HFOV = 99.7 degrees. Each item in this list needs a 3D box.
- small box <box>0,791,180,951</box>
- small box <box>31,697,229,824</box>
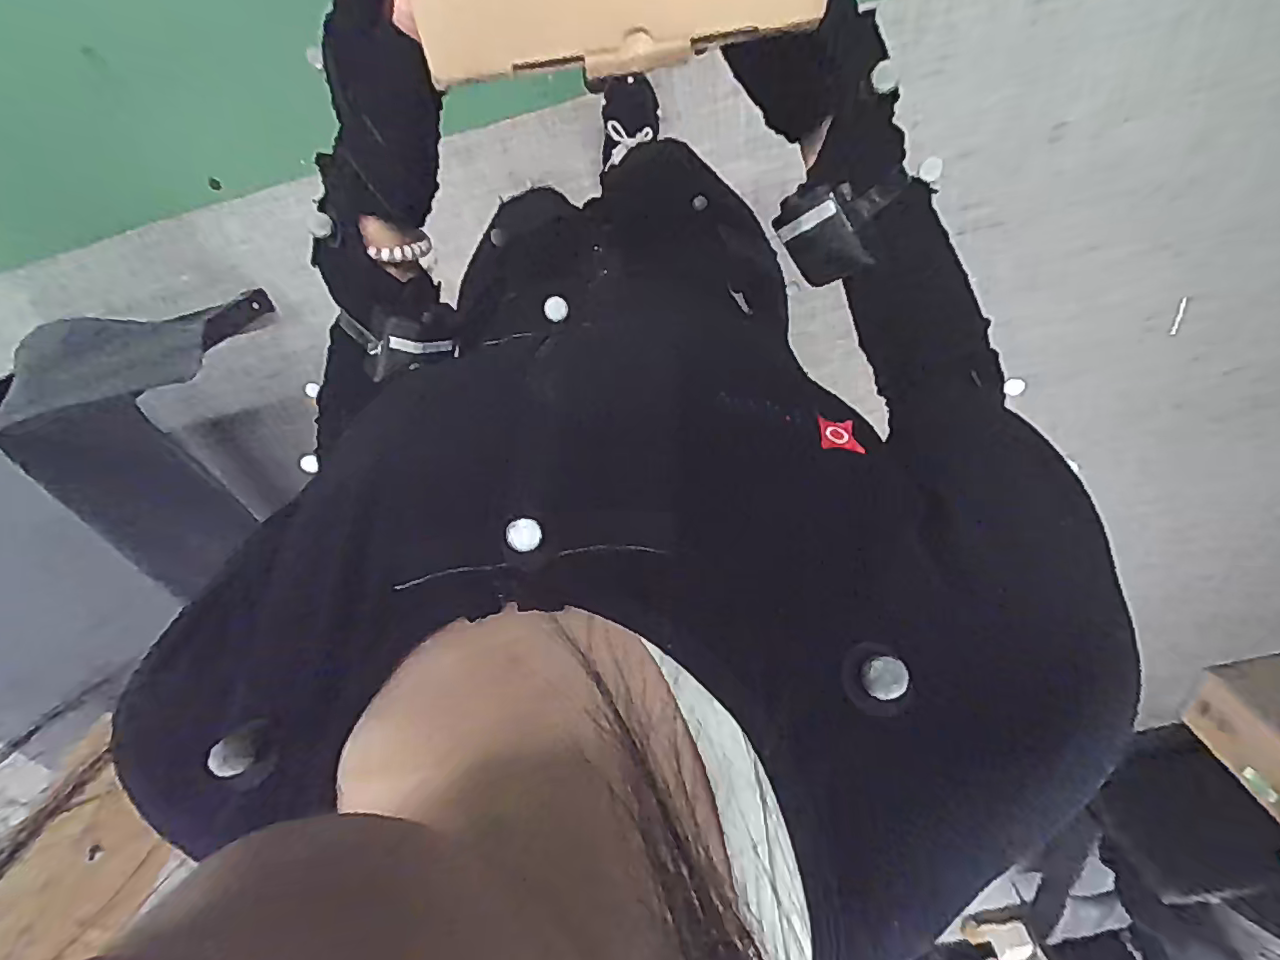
[{"bbox_3d":[-0.943,0.641,0.899,0.168,0.176,0.179,-14,125,7],"label":"small box"},{"bbox_3d":[-0.950,0.543,1.030,0.179,0.176,0.168,-13,125,4],"label":"small box"}]
